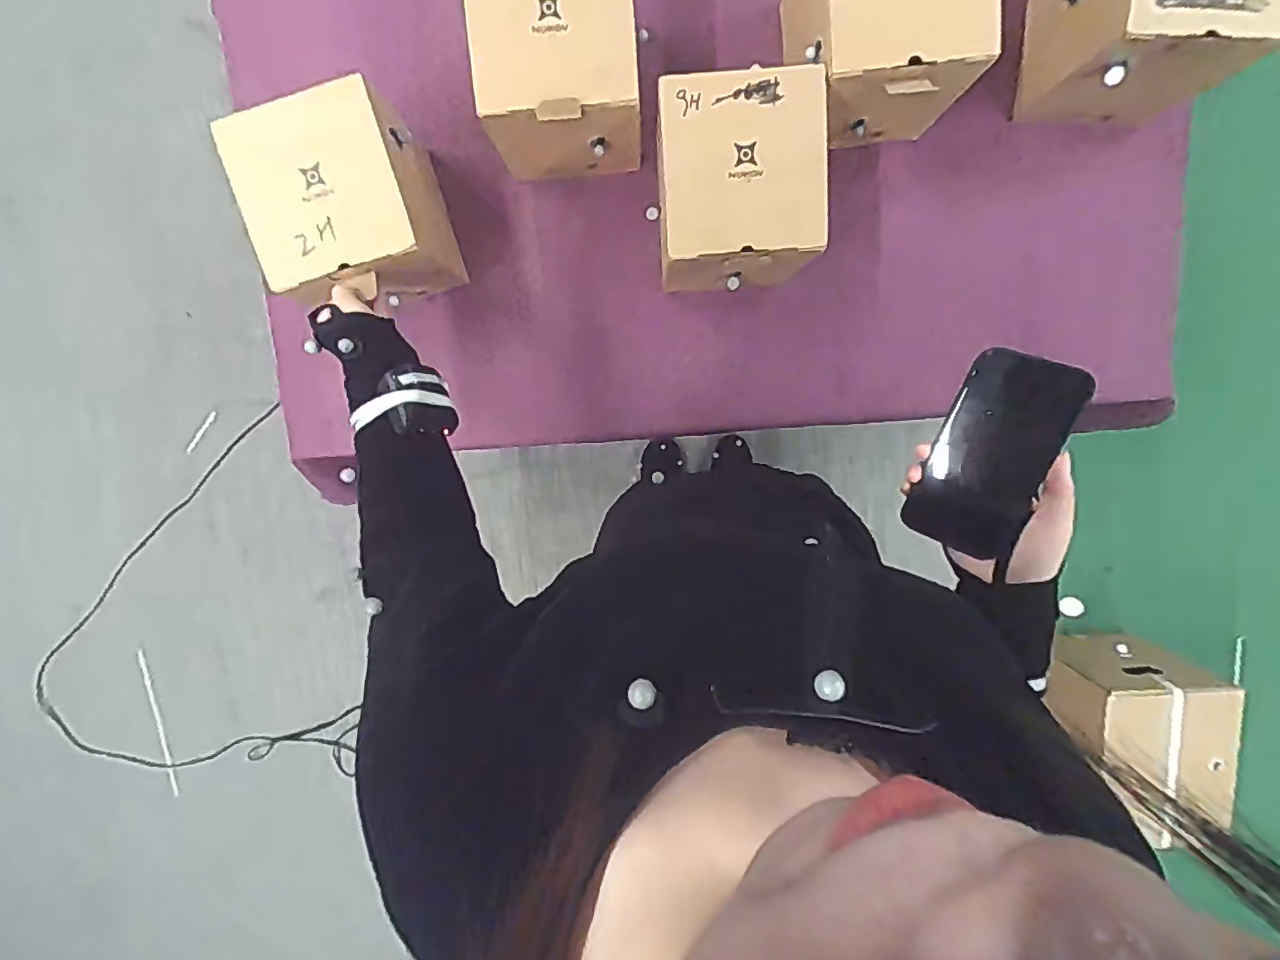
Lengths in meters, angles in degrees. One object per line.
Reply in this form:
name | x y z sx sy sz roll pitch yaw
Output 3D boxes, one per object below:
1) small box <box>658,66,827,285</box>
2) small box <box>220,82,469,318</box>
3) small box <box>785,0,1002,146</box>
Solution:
small box | 0.106 -0.328 0.621 0.168 0.176 0.179 -3 99 1
small box | -0.325 -0.307 0.634 0.168 0.176 0.179 -15 98 4
small box | 0.262 -0.500 0.594 0.168 0.176 0.179 -6 99 2
